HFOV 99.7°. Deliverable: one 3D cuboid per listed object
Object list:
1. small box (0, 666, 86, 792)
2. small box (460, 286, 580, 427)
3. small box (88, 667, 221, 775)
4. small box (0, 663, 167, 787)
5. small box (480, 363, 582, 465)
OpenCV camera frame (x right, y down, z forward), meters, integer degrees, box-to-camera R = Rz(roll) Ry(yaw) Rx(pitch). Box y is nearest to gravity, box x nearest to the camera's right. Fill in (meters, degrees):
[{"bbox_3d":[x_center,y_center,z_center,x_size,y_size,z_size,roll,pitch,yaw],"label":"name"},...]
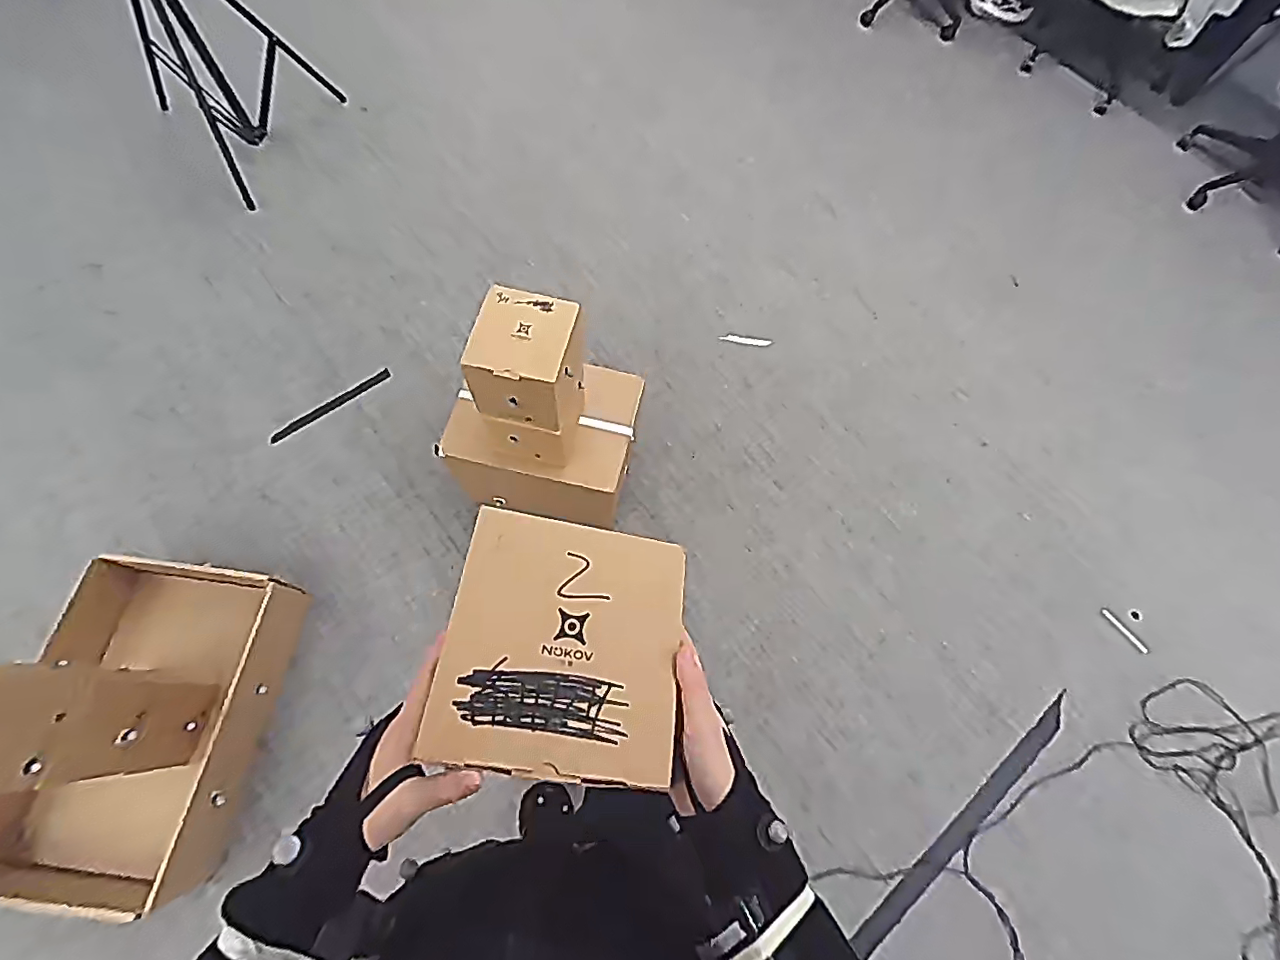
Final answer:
[{"bbox_3d":[-1.012,0.368,0.807,0.179,0.176,0.168,8,68,1],"label":"small box"},{"bbox_3d":[-0.209,-0.220,1.002,0.168,0.176,0.179,13,68,0],"label":"small box"},{"bbox_3d":[-1.028,0.490,1.110,0.179,0.176,0.168,11,68,0],"label":"small box"},{"bbox_3d":[-1.018,0.429,0.960,0.179,0.176,0.168,10,69,-1],"label":"small box"},{"bbox_3d":[-0.220,-0.150,1.151,0.168,0.176,0.179,12,67,0],"label":"small box"}]
